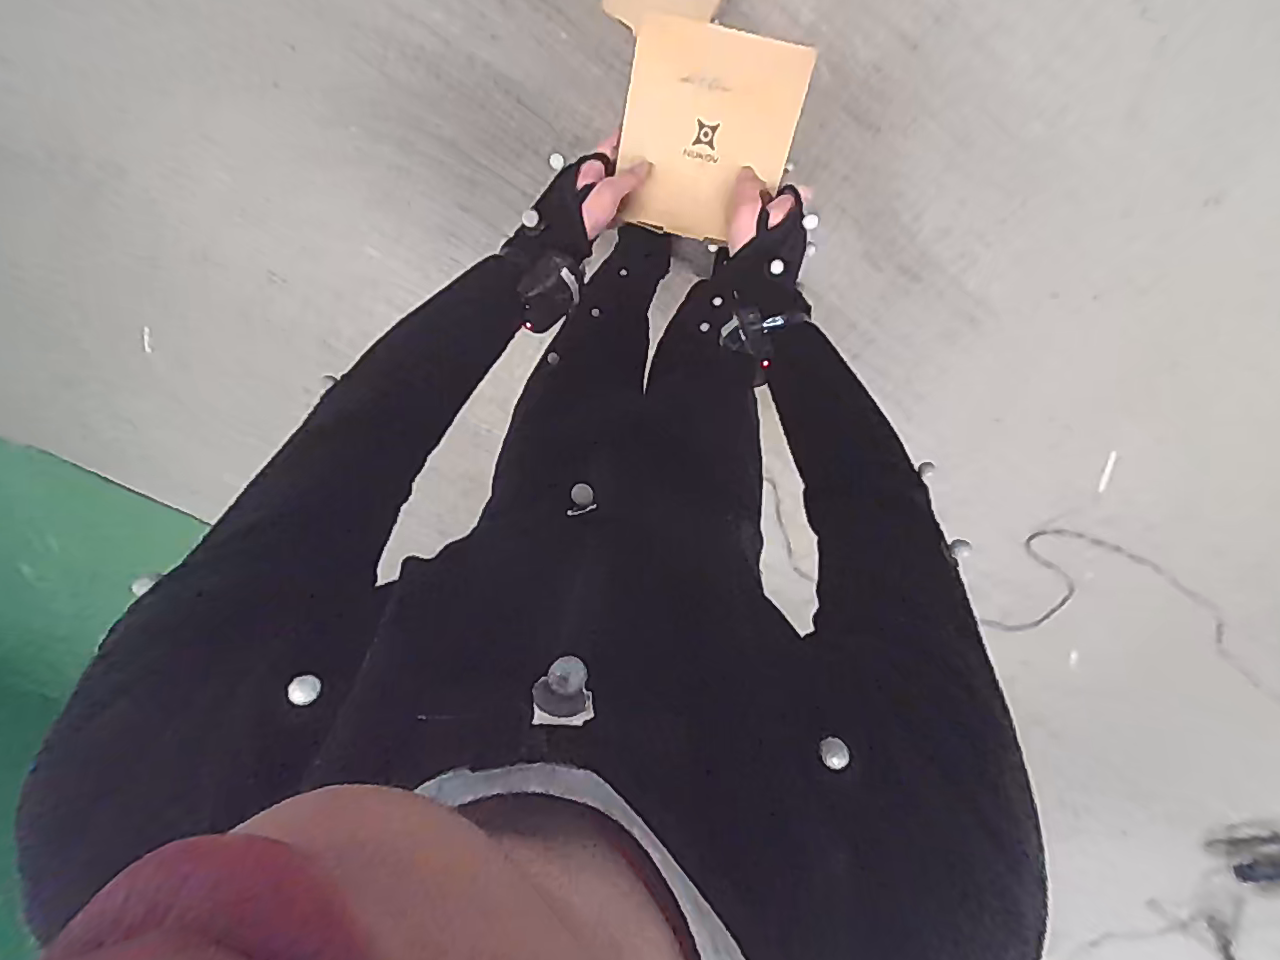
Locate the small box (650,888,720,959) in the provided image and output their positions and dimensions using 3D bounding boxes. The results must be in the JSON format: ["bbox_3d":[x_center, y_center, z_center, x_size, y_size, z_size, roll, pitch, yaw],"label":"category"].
[{"bbox_3d":[0.156,1.498,1.804,0.168,0.176,0.179,29,129,-12],"label":"small box"}]

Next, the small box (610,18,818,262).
[{"bbox_3d":[0.073,-0.350,0.585,0.168,0.176,0.179,12,116,1],"label":"small box"}]
